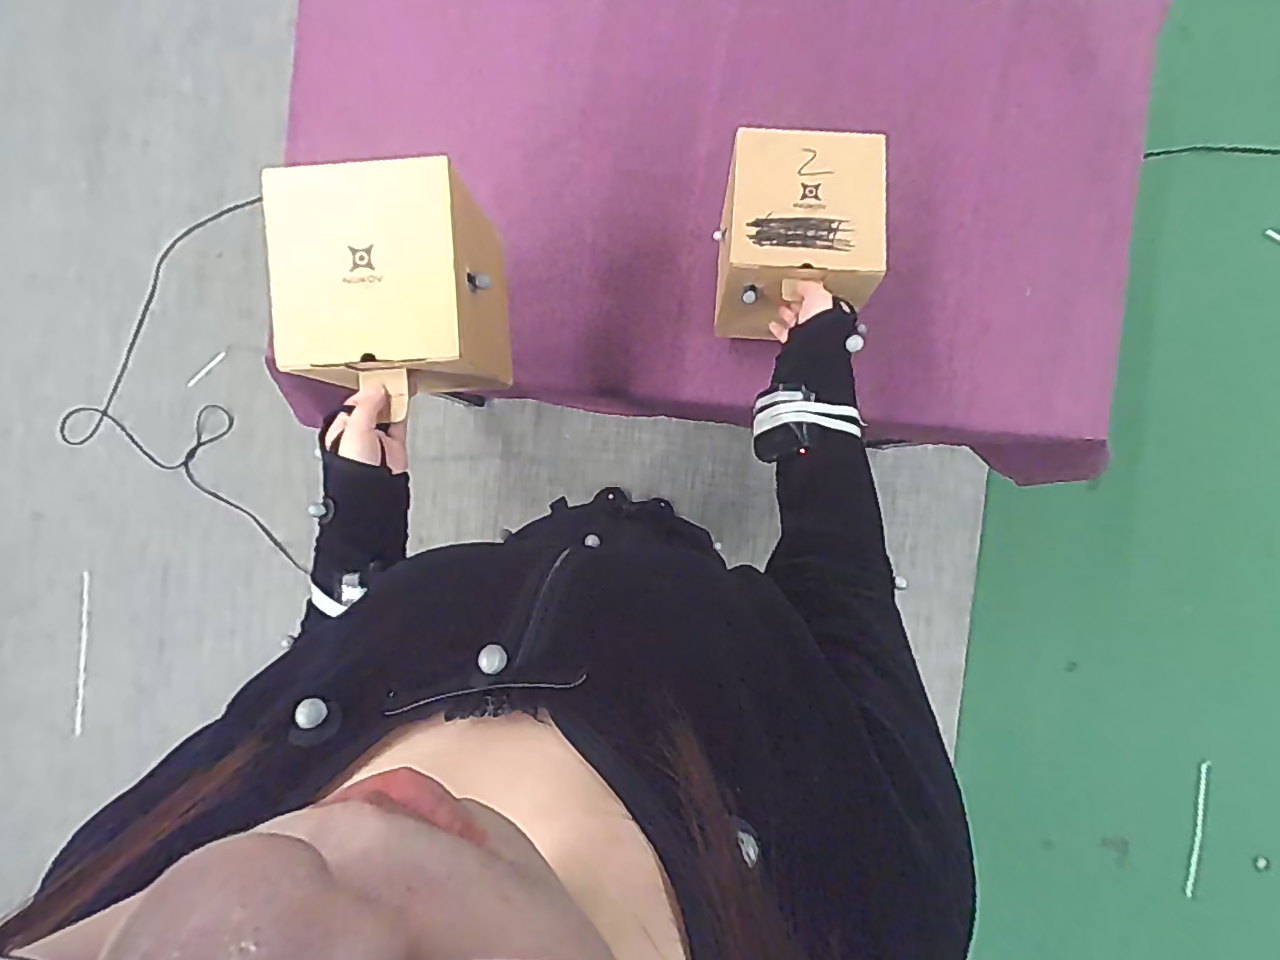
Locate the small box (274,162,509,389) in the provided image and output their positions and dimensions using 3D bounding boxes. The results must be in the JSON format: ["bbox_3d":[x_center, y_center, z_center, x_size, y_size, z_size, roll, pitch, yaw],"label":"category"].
[{"bbox_3d":[-0.241,-0.196,0.564,0.168,0.176,0.179,-3,92,2],"label":"small box"}]
